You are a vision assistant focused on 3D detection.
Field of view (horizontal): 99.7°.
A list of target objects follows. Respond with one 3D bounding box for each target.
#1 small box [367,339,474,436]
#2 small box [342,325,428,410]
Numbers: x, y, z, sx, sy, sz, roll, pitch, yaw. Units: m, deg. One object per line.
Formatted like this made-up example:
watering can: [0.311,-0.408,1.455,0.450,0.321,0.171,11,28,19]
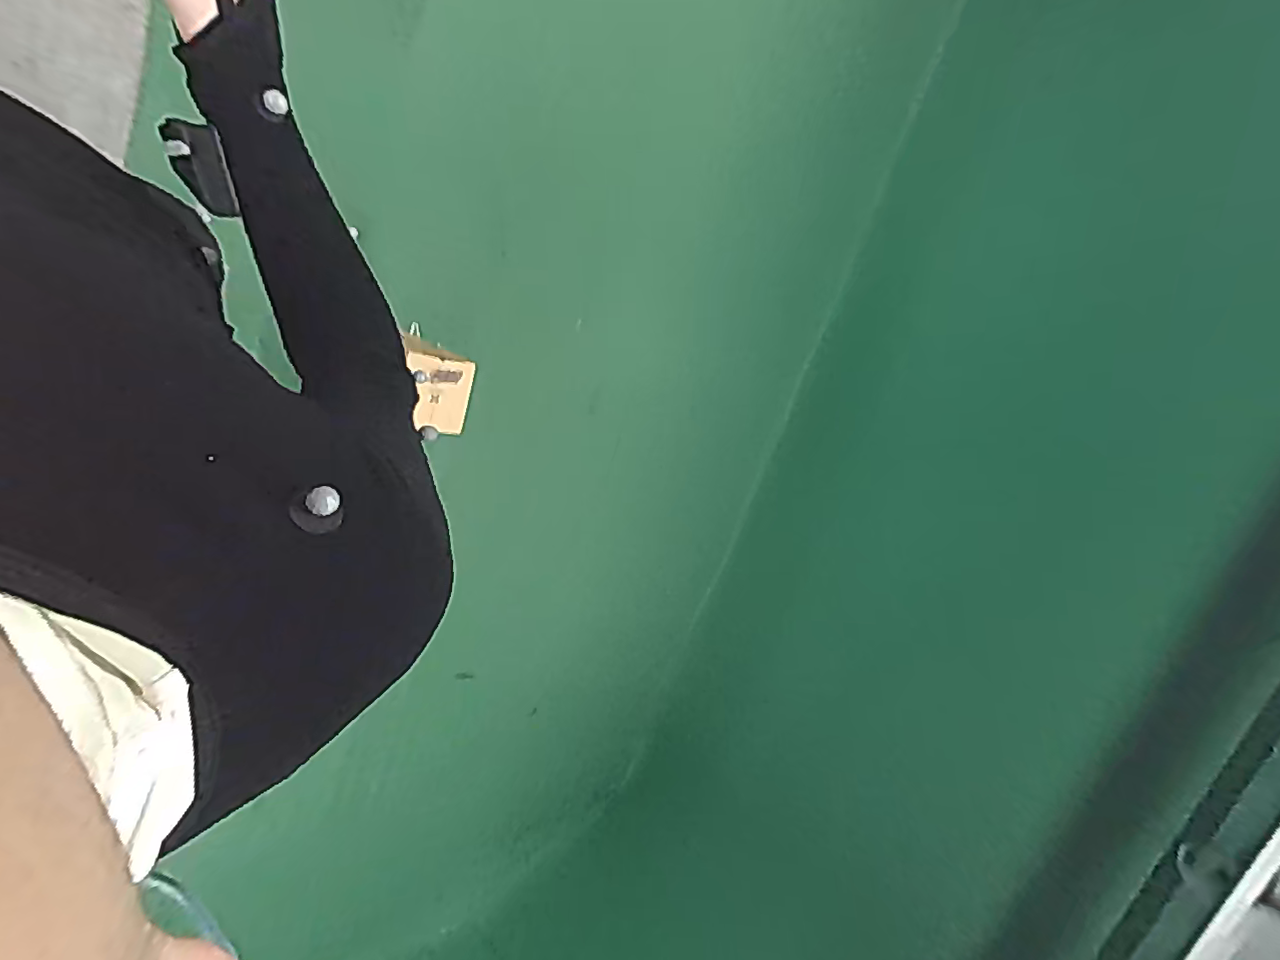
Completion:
small box: [-0.521,-0.218,1.274,0.168,0.176,0.179,3,111,-48]
small box: [-0.635,-0.275,1.377,0.168,0.176,0.179,6,108,-49]
